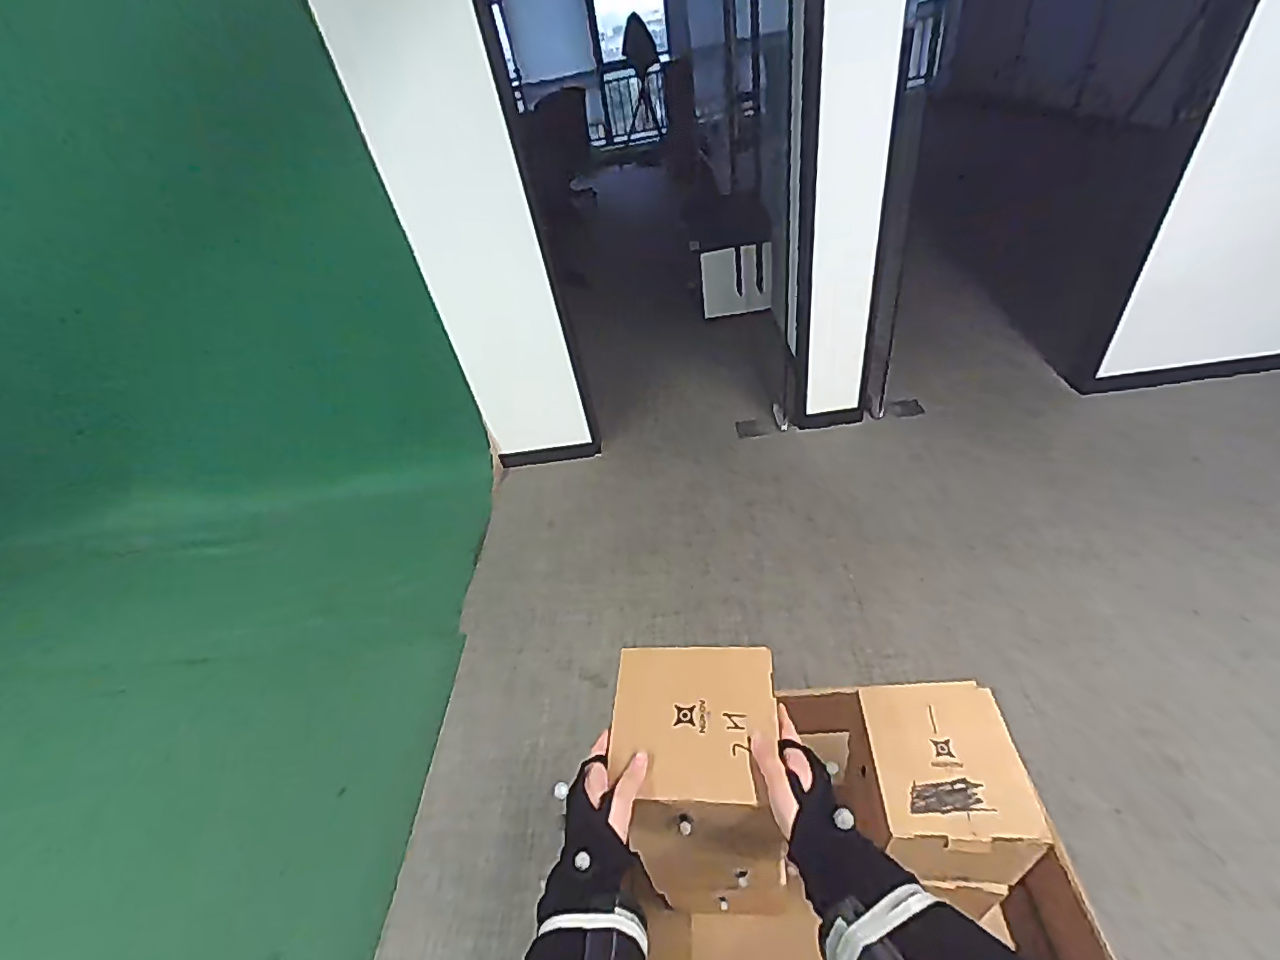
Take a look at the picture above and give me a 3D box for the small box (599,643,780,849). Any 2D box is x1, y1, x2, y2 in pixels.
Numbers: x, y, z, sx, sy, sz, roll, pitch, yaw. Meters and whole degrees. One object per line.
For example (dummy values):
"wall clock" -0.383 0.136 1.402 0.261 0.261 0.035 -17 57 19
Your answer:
"small box" 0.066 0.307 0.626 0.179 0.176 0.168 -3 42 10

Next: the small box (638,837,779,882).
"small box" 0.095 0.424 0.736 0.168 0.176 0.179 -5 40 8

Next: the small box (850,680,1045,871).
"small box" 0.378 0.384 0.703 0.168 0.176 0.179 -5 40 10
